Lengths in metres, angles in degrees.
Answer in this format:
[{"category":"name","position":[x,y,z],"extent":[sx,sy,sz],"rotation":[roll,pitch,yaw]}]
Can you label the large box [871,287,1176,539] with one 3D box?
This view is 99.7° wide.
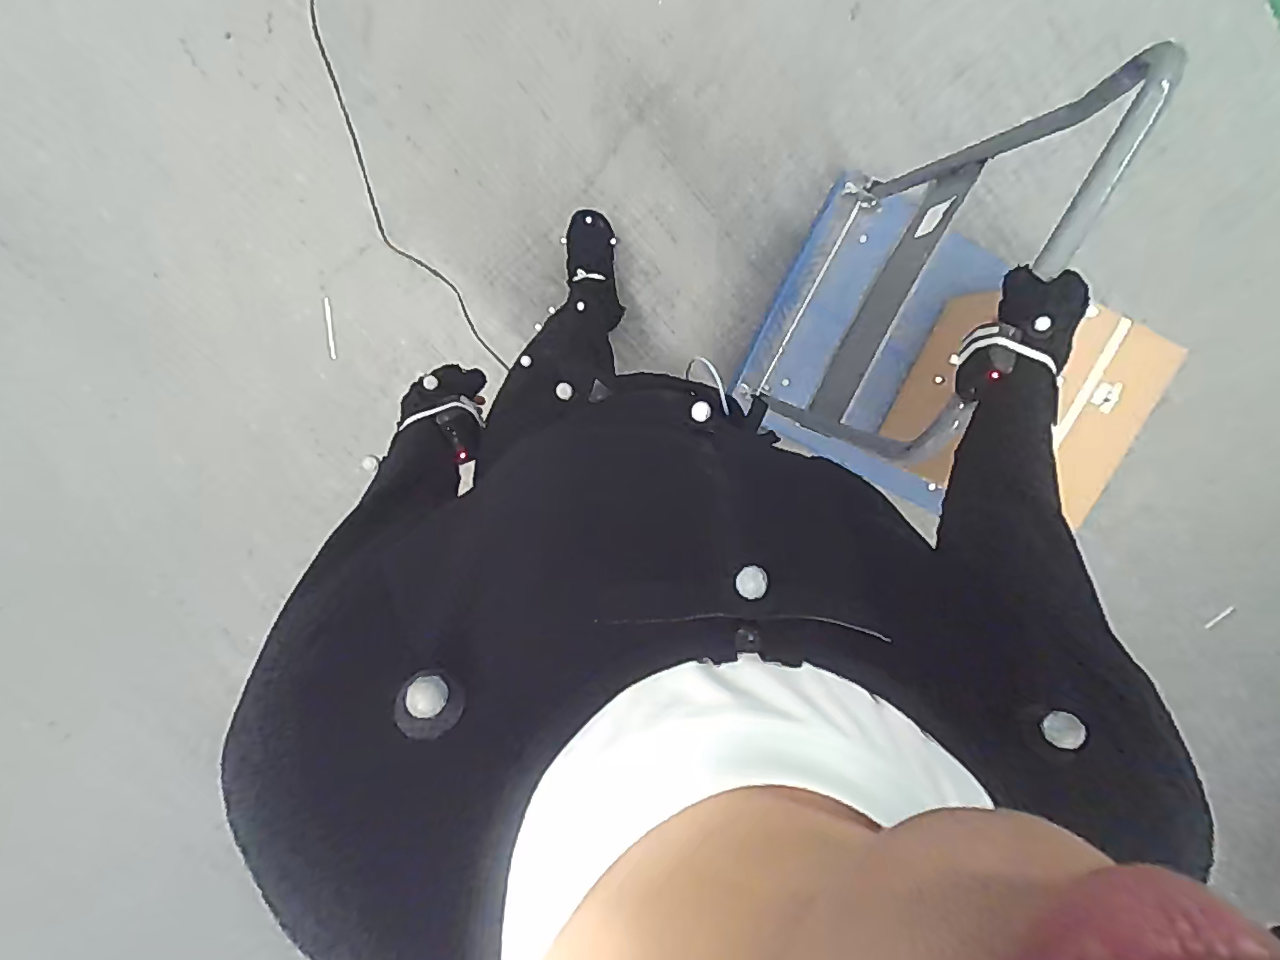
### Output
[{"category":"large box","position":[0.779,-0.143,1.165],"extent":[0.320,0.320,0.408],"rotation":[21,100,-10]}]
